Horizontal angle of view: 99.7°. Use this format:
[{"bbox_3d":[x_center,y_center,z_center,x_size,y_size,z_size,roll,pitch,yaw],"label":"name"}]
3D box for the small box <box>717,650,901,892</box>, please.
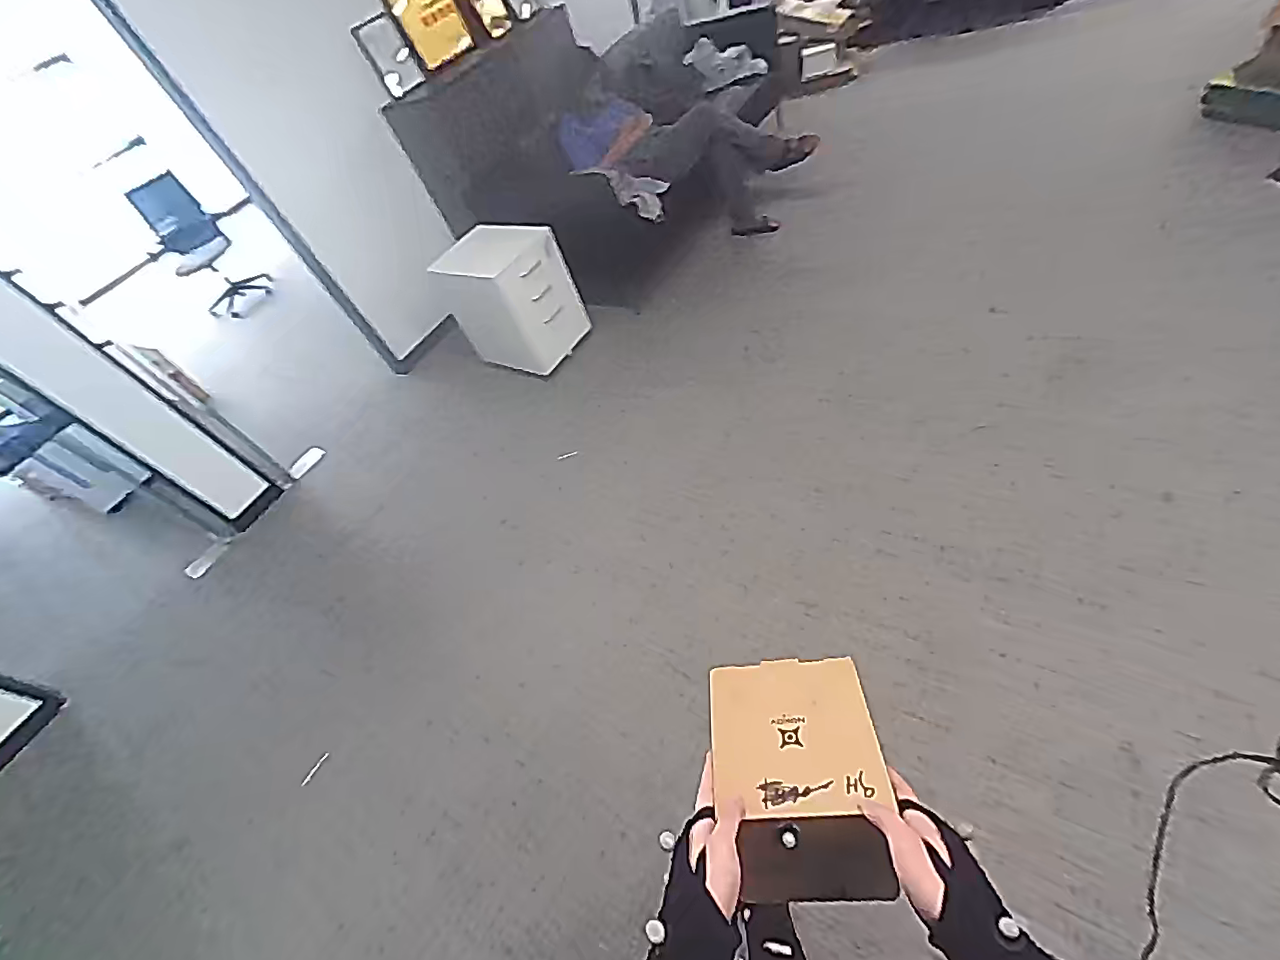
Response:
[{"bbox_3d":[0.180,0.319,0.605,0.168,0.176,0.179,-9,30,13],"label":"small box"}]
